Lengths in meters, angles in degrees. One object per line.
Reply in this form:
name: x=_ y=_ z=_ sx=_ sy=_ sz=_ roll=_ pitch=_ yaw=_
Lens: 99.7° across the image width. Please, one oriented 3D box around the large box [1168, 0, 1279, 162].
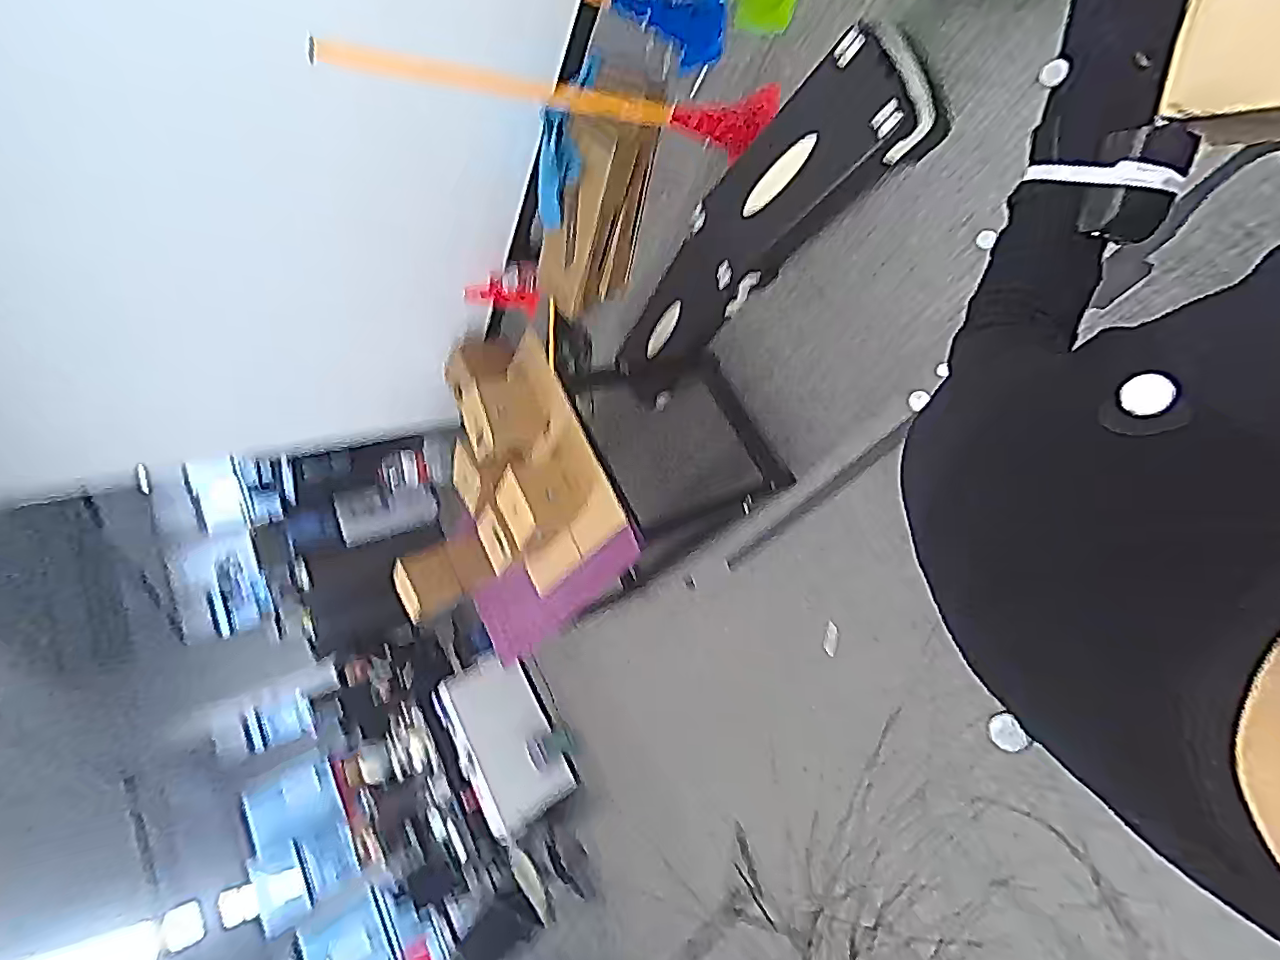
large box: x=0.583 y=-0.359 z=0.256 sx=0.408 sy=0.320 sz=0.320 roll=22 pitch=125 yaw=42
